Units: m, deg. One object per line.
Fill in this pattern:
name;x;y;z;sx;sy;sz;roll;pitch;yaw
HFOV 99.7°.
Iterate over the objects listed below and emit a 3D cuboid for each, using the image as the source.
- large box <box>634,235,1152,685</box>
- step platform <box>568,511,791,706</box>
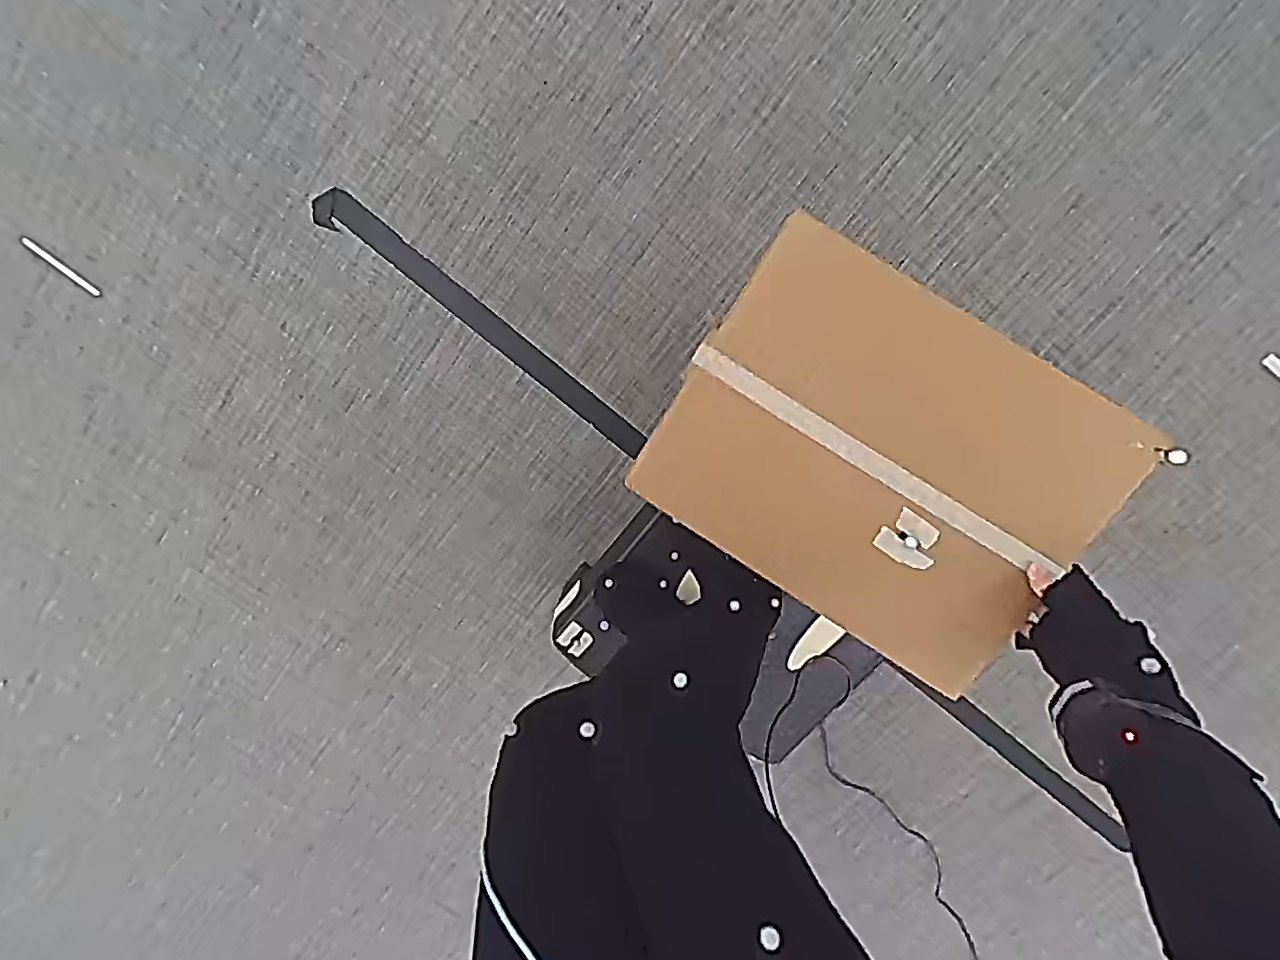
large box;0.253;-0.035;0.685;0.408;0.320;0.320;31;103;2
step platform;0.162;0.080;0.990;0.286;0.204;0.684;36;101;-7
